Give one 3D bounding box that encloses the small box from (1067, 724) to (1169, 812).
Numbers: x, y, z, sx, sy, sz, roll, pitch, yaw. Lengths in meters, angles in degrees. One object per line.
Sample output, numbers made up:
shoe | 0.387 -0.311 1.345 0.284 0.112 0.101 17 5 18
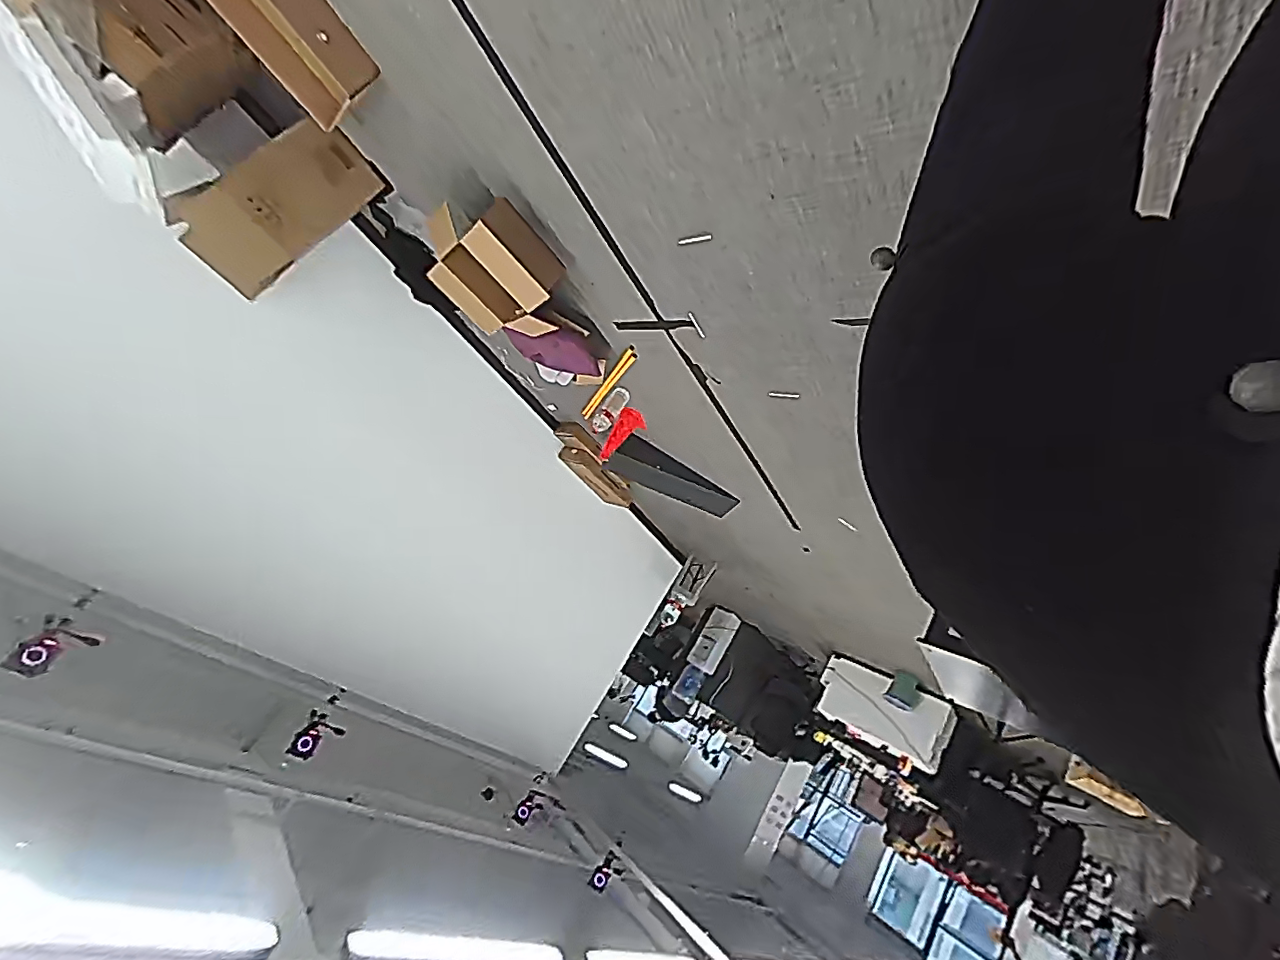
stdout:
small box | 1.394 0.835 1.577 0.168 0.176 0.179 24 161 30
